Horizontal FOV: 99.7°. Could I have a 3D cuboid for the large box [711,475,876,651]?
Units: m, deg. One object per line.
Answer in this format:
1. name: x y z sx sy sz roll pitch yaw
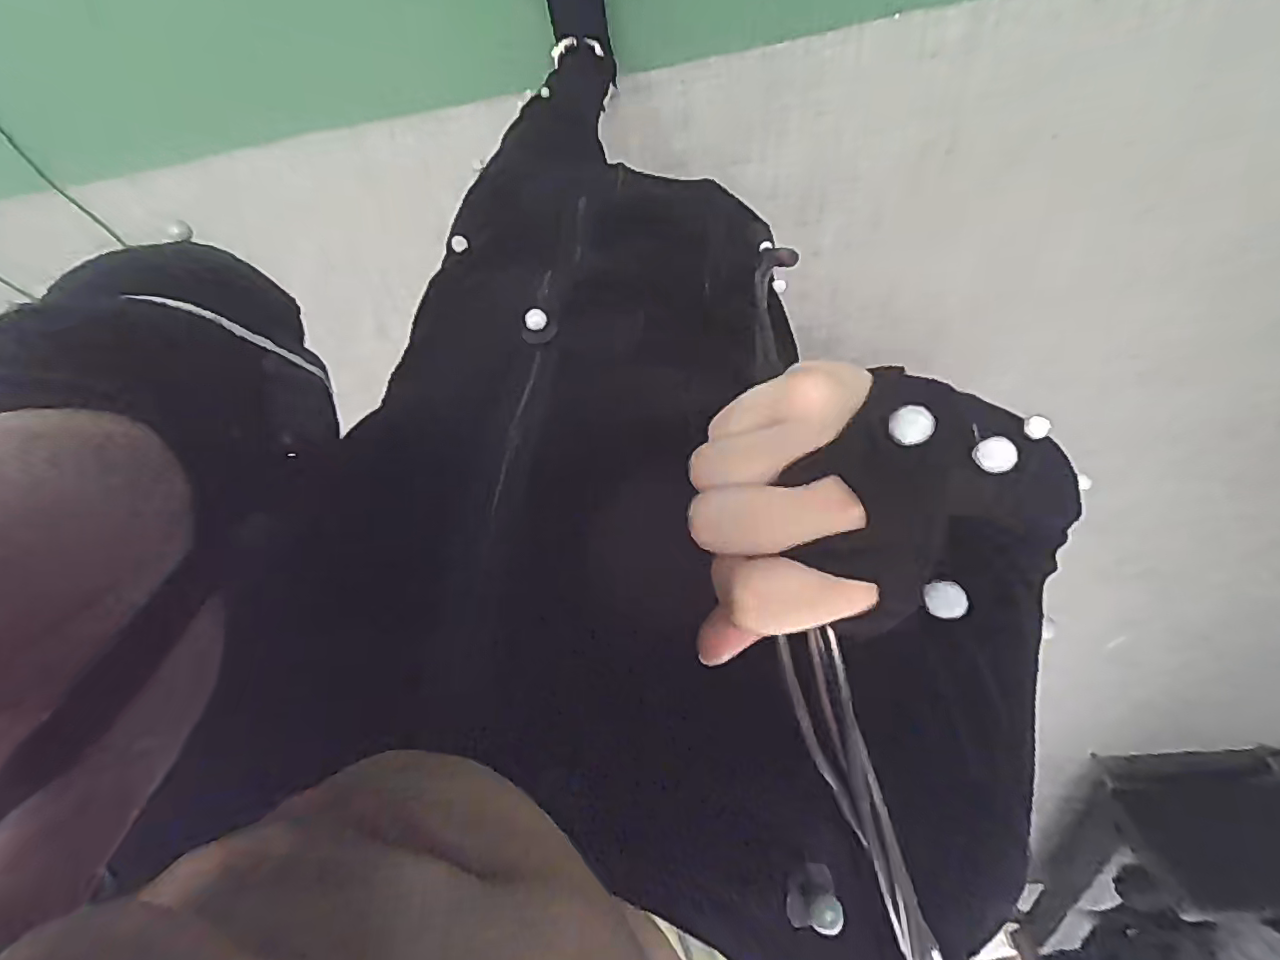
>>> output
1. large box: 0.426 0.246 1.611 0.320 0.320 0.408 11 126 -7
